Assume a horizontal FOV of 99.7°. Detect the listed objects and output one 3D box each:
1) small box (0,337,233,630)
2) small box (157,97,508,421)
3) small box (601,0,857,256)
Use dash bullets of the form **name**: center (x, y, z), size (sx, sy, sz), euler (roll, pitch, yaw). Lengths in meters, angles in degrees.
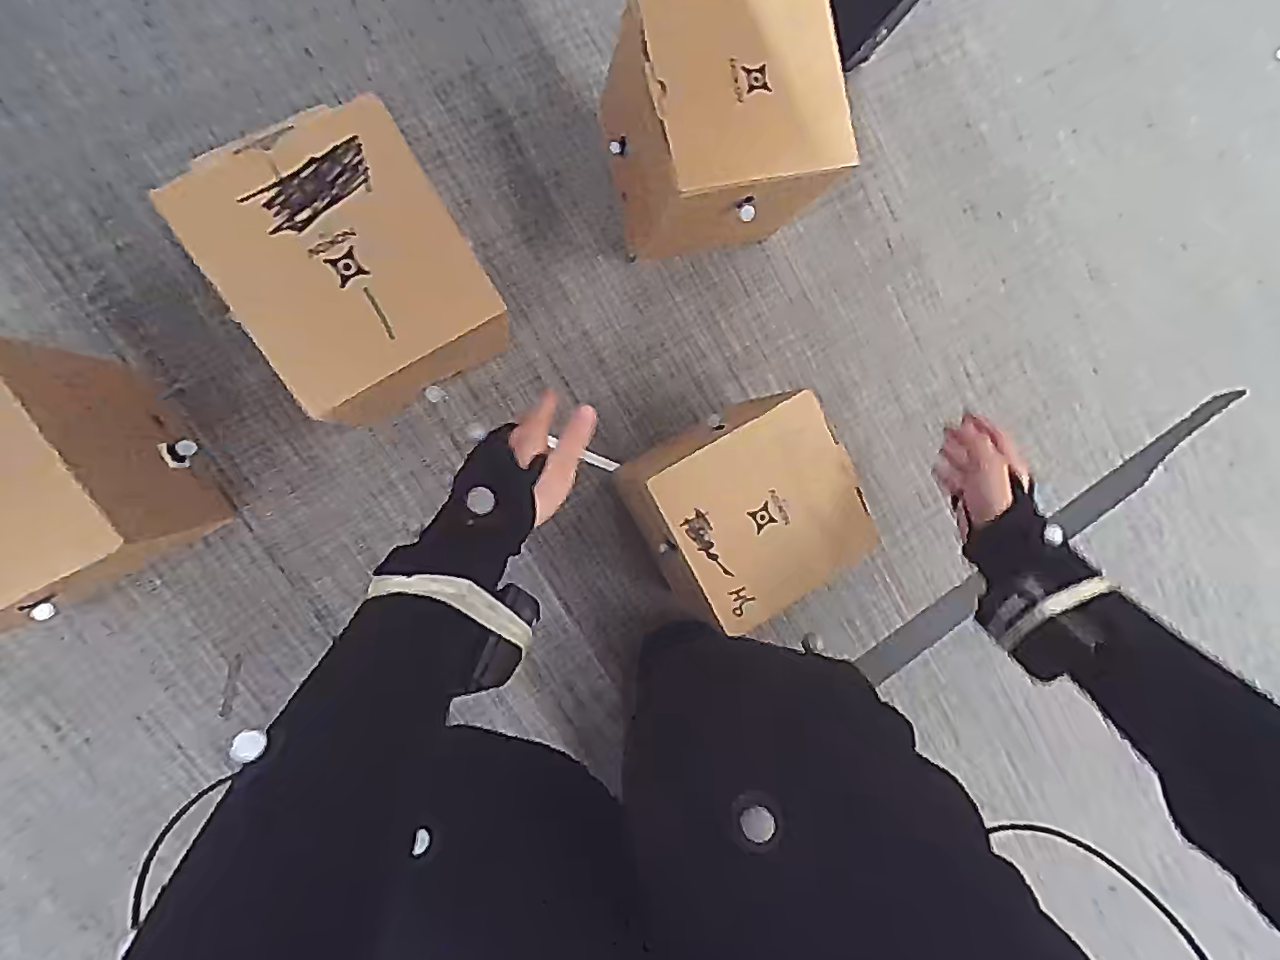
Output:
- **small box**: center (-0.476, 0.013, 0.415), size (0.179, 0.176, 0.168), euler (-30, 100, -11)
- **small box**: center (-0.230, -0.163, 0.462), size (0.168, 0.176, 0.179), euler (-33, 101, -9)
- **small box**: center (0.074, -0.337, 0.525), size (0.179, 0.176, 0.168), euler (-15, 97, -11)
